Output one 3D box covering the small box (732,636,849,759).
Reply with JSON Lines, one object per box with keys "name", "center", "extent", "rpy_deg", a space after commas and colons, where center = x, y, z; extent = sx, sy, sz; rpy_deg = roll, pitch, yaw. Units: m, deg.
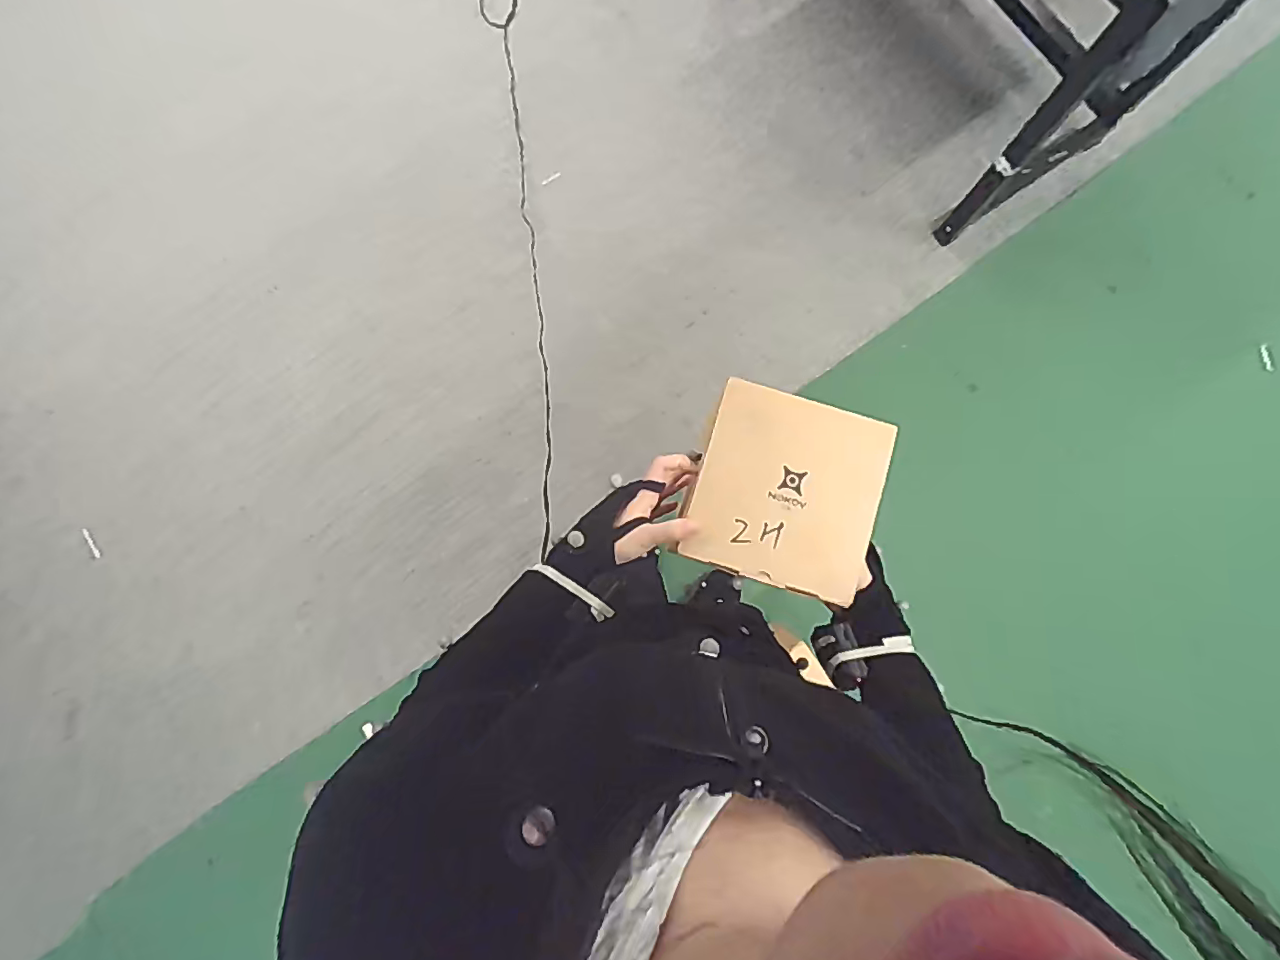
{"name": "small box", "center": [0.327, 0.474, 1.212], "extent": [0.168, 0.176, 0.179], "rpy_deg": [-36, 83, -3]}
